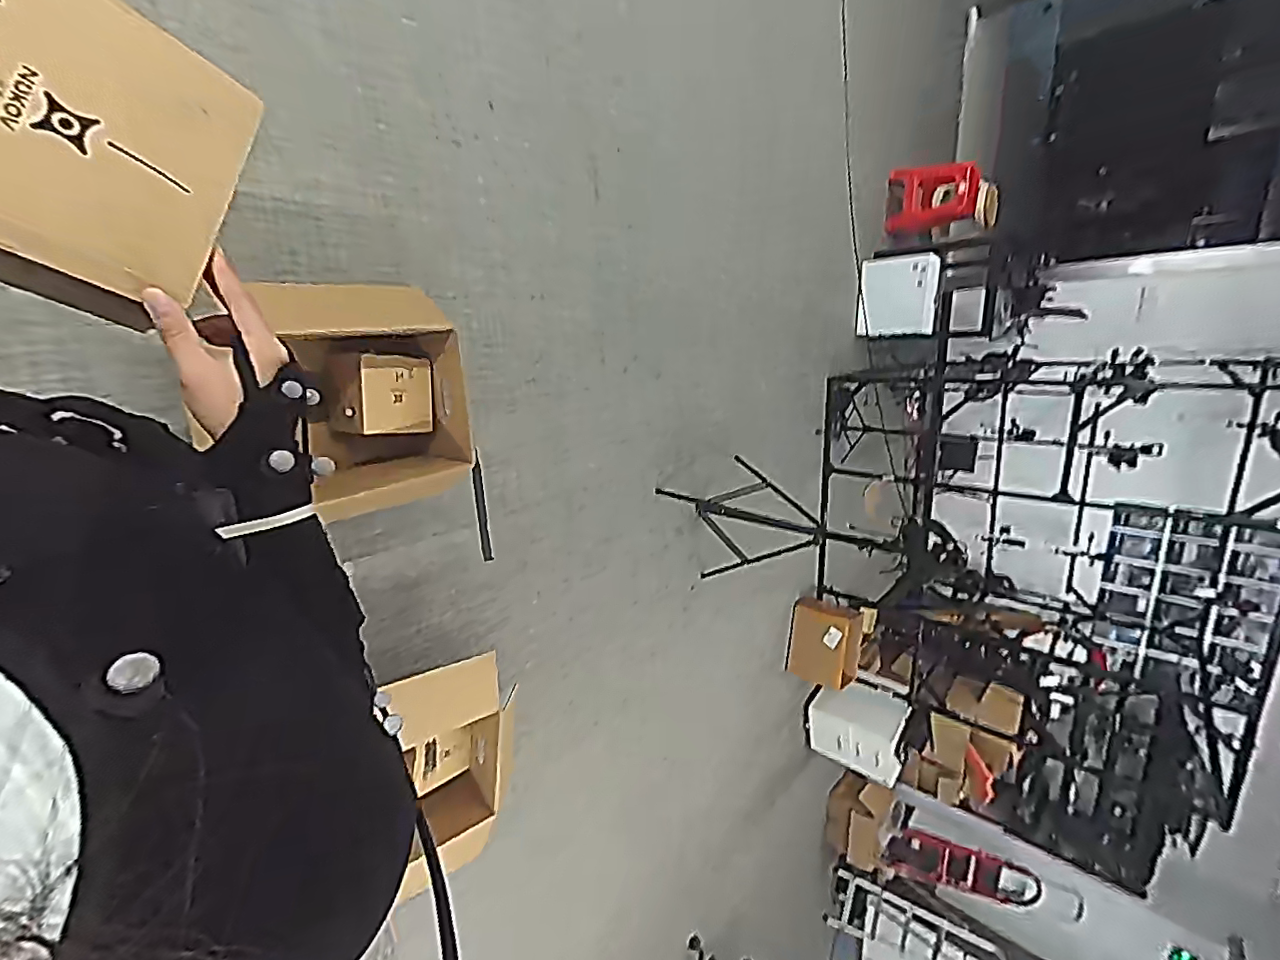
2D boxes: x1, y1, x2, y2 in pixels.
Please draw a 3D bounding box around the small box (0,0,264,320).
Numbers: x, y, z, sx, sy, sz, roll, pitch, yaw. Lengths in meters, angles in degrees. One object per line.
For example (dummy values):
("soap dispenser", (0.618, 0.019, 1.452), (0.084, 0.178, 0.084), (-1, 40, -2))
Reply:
("small box", (-0.398, -0.217, 0.356), (0.179, 0.176, 0.168), (24, 79, -51))
